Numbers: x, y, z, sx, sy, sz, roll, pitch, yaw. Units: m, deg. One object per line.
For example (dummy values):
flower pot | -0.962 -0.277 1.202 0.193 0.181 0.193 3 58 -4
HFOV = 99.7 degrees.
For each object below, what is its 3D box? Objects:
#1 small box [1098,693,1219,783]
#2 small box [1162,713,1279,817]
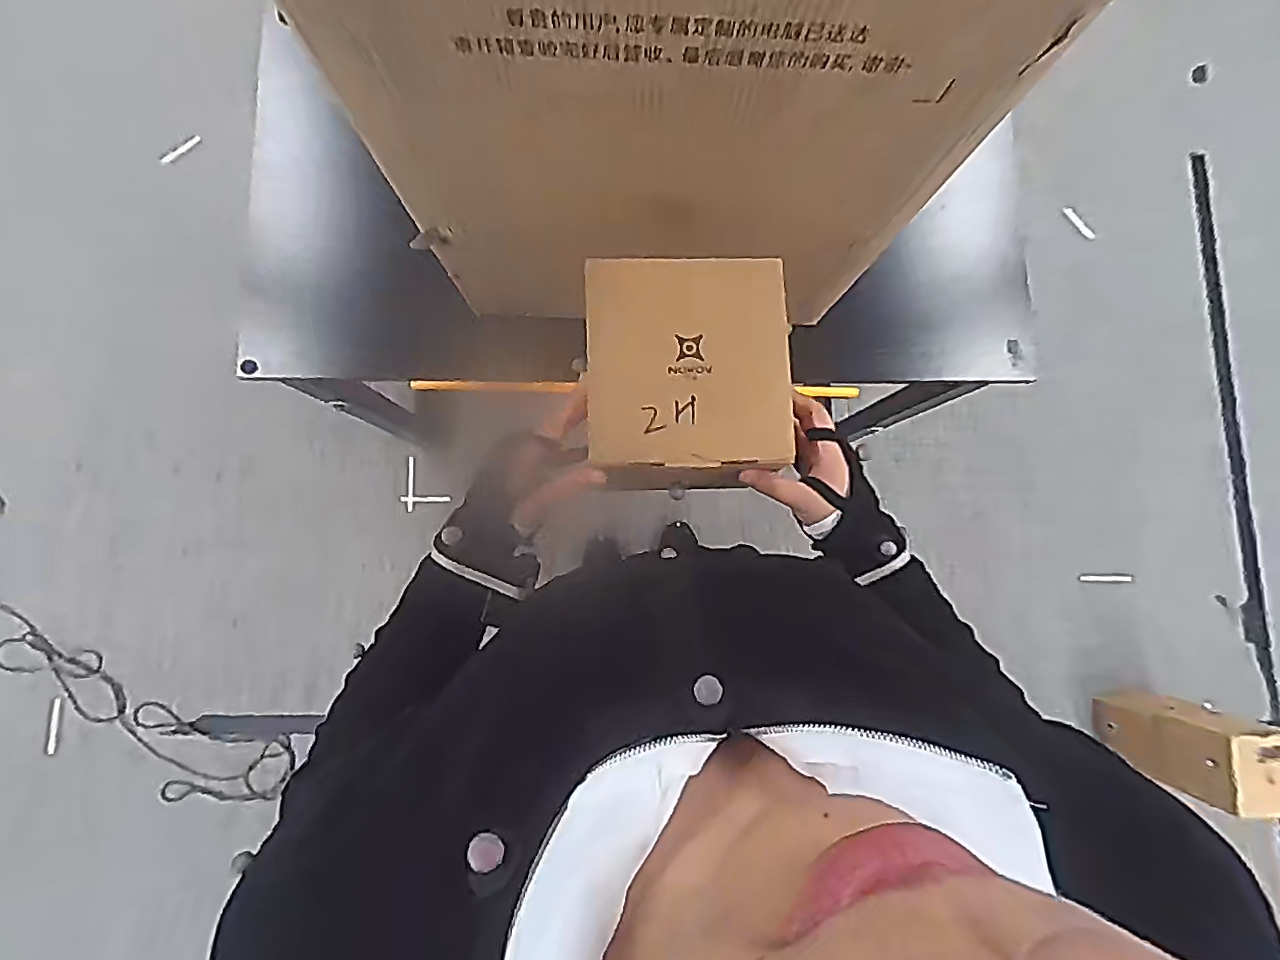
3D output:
small box | 1.378 0.675 1.433 0.179 0.176 0.168 -5 83 -2
small box | 1.385 0.657 1.269 0.168 0.176 0.179 -1 84 -2
